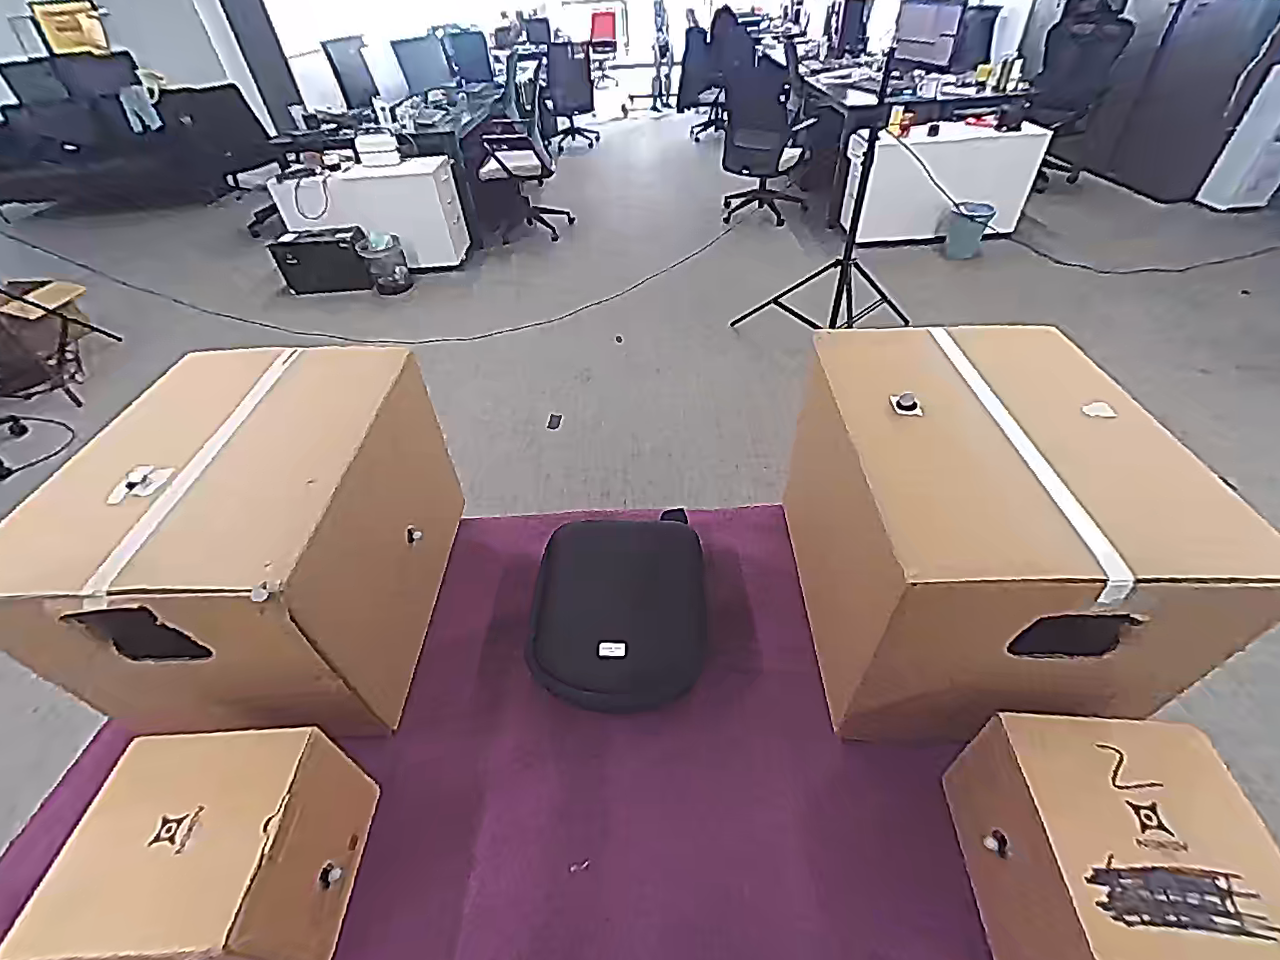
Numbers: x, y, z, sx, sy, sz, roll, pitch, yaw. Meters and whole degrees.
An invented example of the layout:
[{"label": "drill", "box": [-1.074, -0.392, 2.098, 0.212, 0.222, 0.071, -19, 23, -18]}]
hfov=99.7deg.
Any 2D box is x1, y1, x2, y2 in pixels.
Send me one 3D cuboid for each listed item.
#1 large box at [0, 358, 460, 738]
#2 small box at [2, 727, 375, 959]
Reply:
[{"label": "large box", "box": [-0.458, 0.081, 0.711, 0.320, 0.320, 0.408, -3, 45, 0]}, {"label": "small box", "box": [-0.388, 0.357, 0.512, 0.179, 0.176, 0.168, -4, 42, -1]}]
